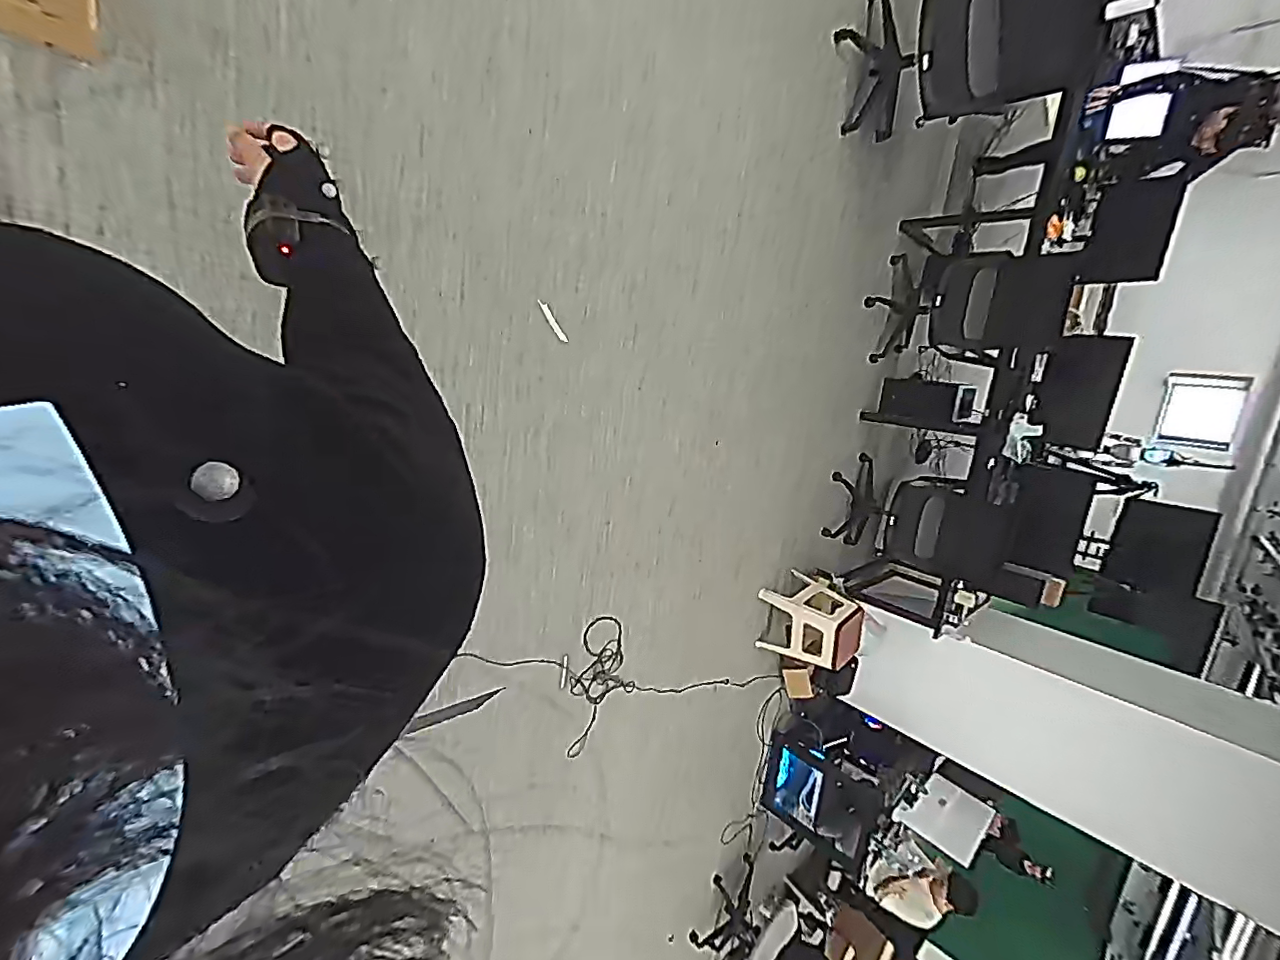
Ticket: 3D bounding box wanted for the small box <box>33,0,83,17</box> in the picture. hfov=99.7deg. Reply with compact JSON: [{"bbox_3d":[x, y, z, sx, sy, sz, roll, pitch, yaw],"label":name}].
[{"bbox_3d":[-0.853,-0.775,0.715,0.168,0.176,0.179,2,101,-46],"label":"small box"}]
